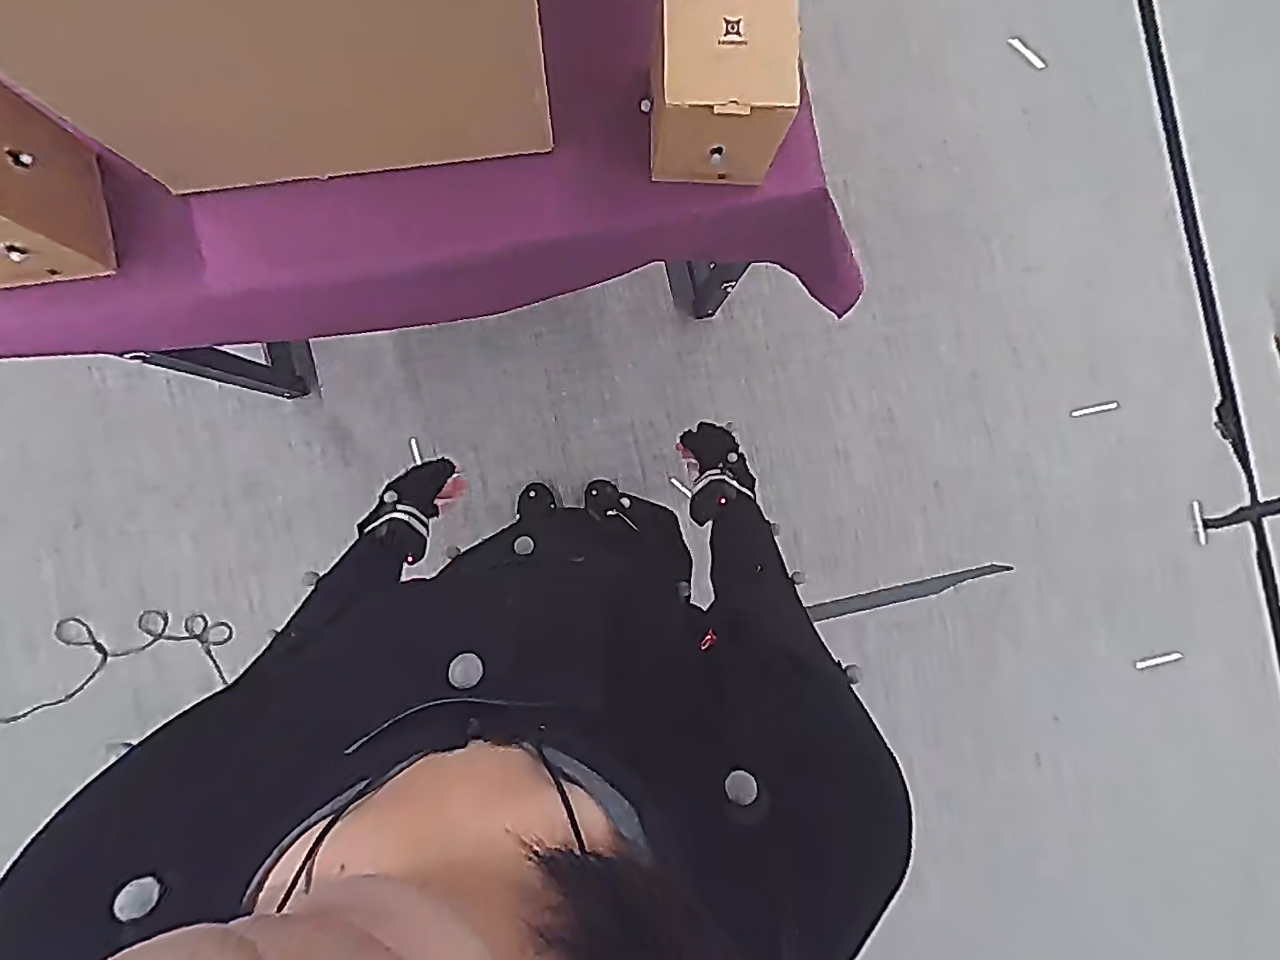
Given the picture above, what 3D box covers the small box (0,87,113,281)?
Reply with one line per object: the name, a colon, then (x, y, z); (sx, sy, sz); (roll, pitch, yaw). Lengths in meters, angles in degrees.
small box: (-0.790, -0.354, 0.646); (0.168, 0.176, 0.179); (-11, 88, -8)
